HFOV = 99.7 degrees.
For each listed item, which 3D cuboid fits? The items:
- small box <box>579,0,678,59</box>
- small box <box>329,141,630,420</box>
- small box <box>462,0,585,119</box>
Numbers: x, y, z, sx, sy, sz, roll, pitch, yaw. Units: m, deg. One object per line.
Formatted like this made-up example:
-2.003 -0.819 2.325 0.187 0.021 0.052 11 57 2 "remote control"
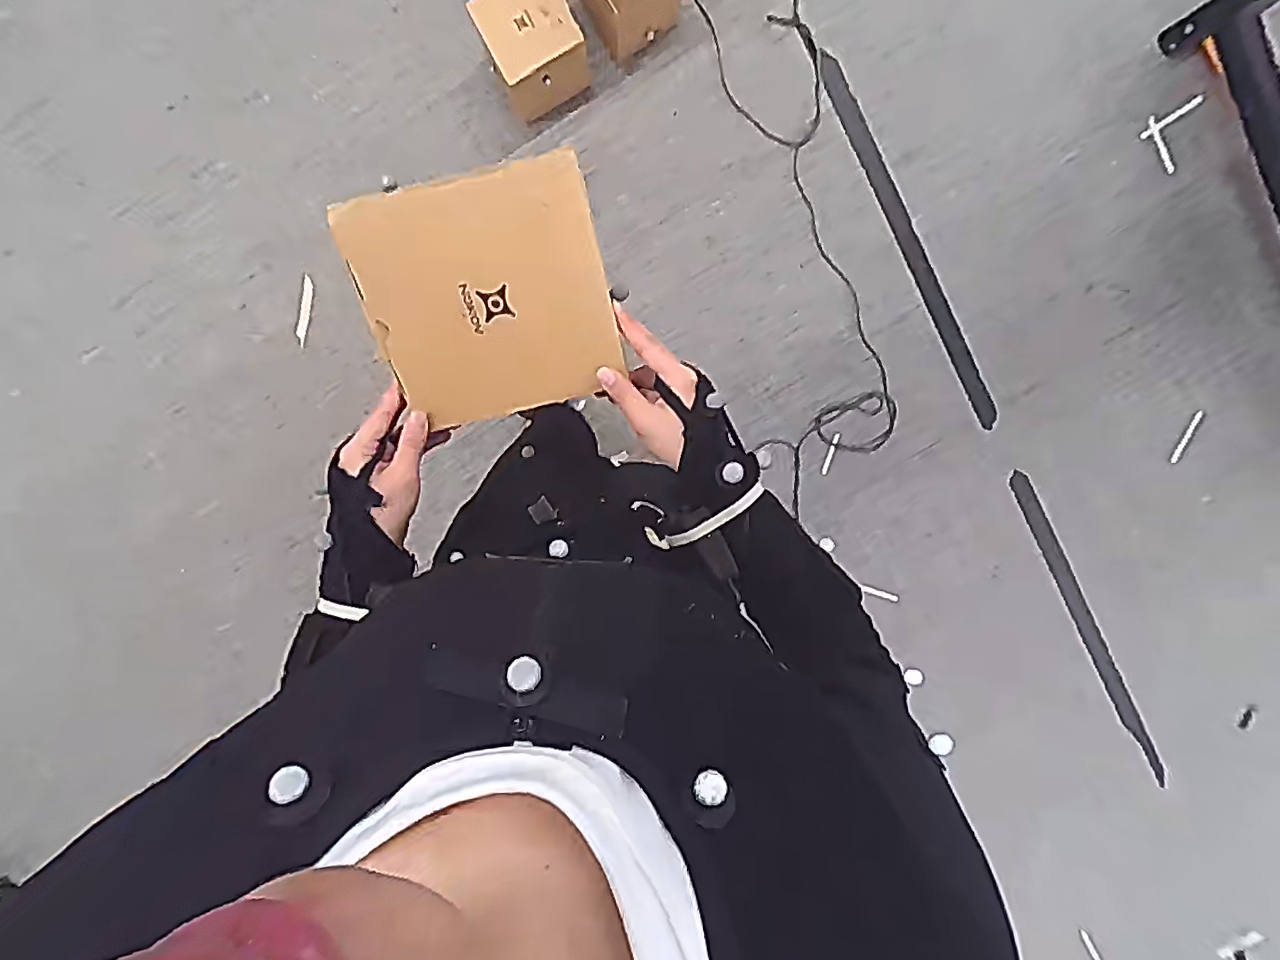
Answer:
-0.032 -1.020 1.096 0.168 0.176 0.179 -32 100 4 "small box"
-0.114 -0.171 0.462 0.179 0.176 0.168 -12 116 2 "small box"
-0.229 -0.894 1.114 0.179 0.176 0.168 -29 100 4 "small box"
